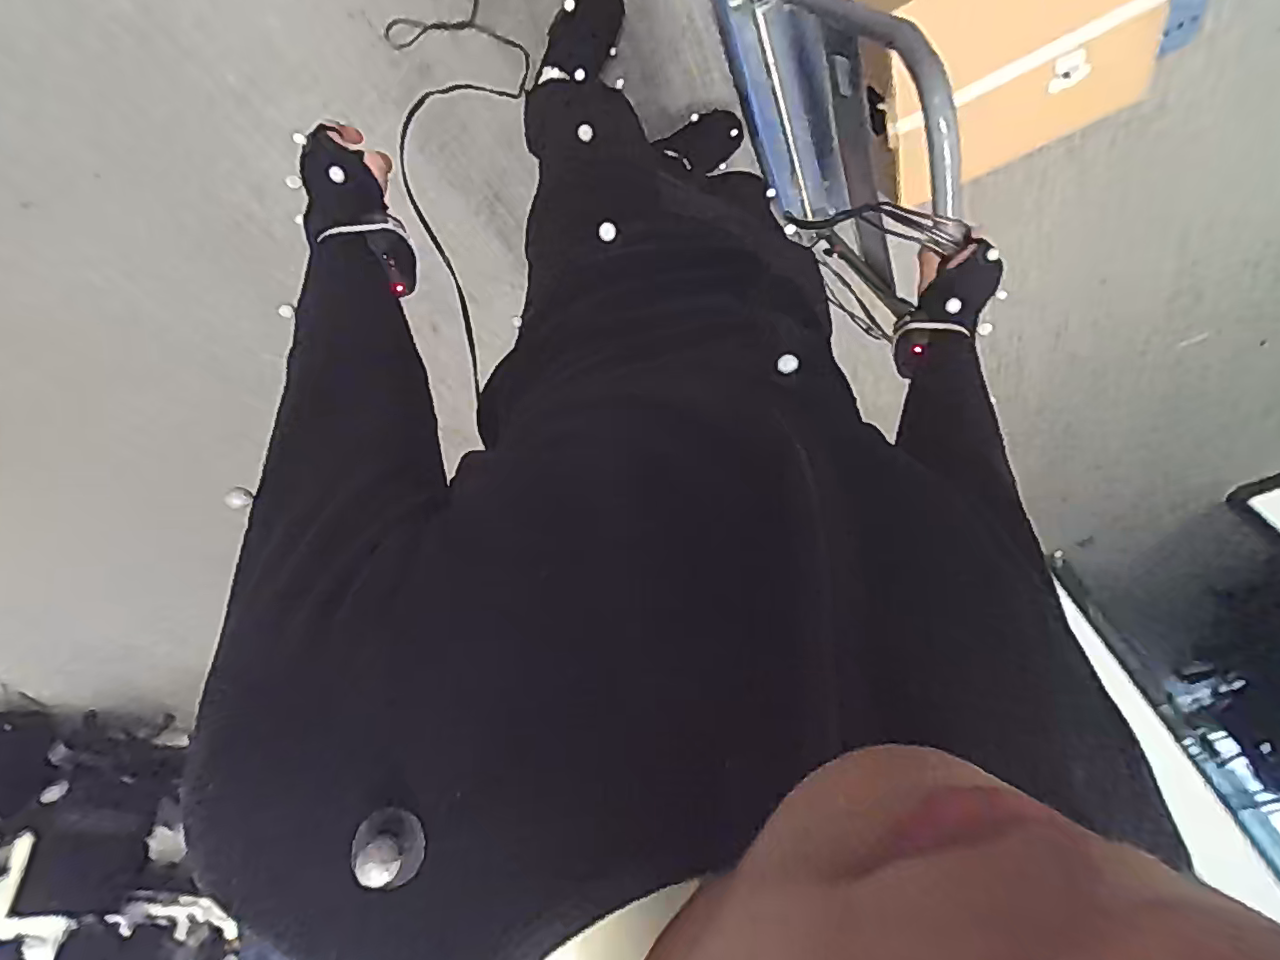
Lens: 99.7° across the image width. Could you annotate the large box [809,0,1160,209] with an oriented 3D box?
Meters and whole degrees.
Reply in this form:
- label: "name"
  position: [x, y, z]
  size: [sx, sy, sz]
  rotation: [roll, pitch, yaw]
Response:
- label: "large box"
  position: [0.560, -0.759, 0.931]
  size: [0.408, 0.320, 0.320]
  rotation: [-23, 138, 13]
